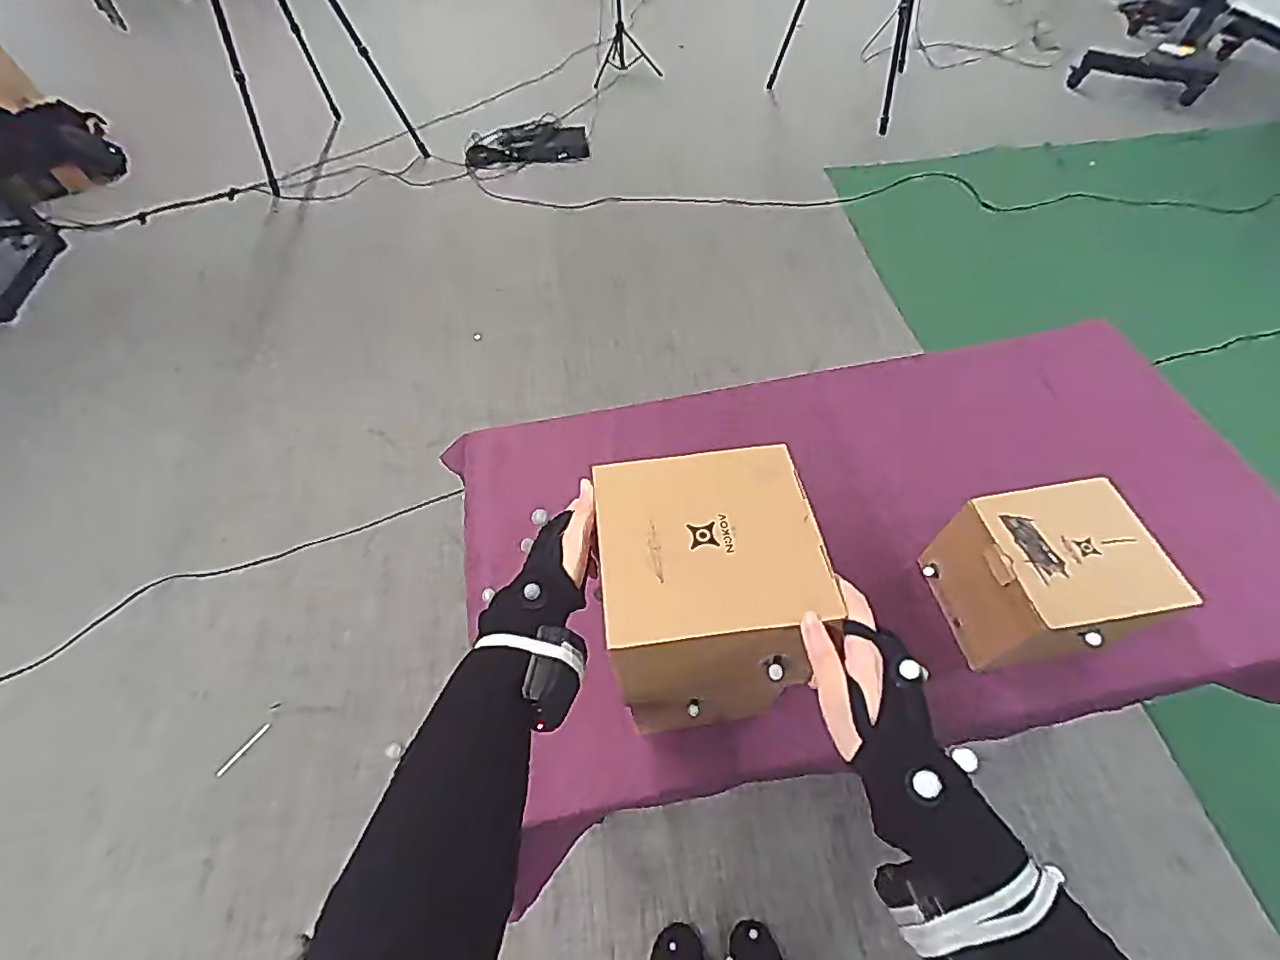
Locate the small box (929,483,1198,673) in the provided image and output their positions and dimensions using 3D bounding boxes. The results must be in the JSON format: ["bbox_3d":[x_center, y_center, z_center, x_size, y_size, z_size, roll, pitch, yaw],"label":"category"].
[{"bbox_3d":[0.491,0.127,0.670,0.179,0.176,0.168,-9,56,-3],"label":"small box"}]

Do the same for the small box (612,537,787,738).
[{"bbox_3d":[0.061,0.193,0.652,0.168,0.176,0.179,-8,55,-2],"label":"small box"}]
